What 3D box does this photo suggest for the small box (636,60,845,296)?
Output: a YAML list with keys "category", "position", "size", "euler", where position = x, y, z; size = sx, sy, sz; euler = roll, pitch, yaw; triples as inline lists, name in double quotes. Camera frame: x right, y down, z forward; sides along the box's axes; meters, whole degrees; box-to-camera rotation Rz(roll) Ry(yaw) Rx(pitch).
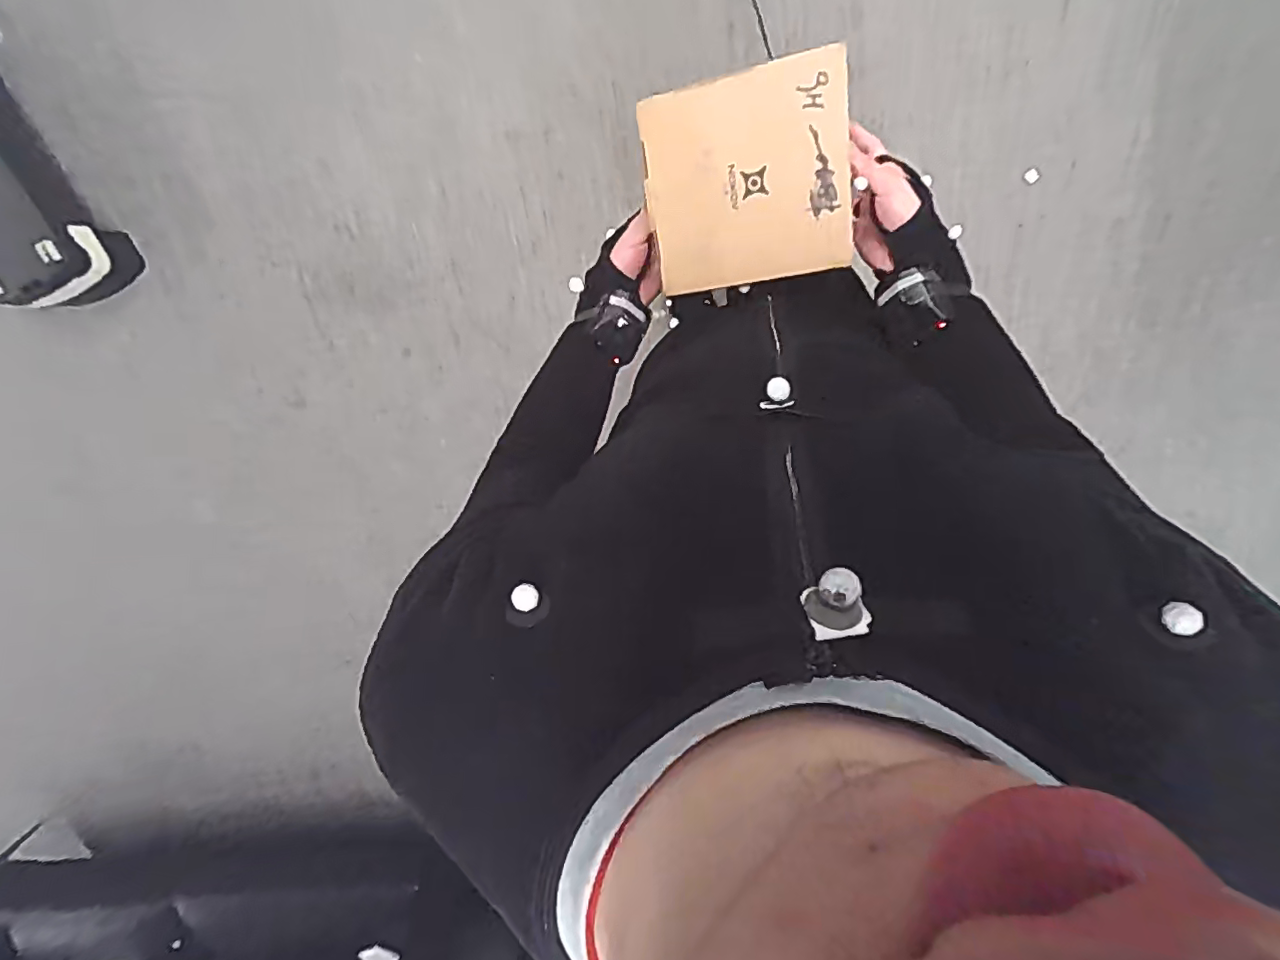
- category: "small box"
  position: [0.109, -0.284, 0.548]
  size: [0.179, 0.176, 0.168]
  euler: [-1, 112, 17]
